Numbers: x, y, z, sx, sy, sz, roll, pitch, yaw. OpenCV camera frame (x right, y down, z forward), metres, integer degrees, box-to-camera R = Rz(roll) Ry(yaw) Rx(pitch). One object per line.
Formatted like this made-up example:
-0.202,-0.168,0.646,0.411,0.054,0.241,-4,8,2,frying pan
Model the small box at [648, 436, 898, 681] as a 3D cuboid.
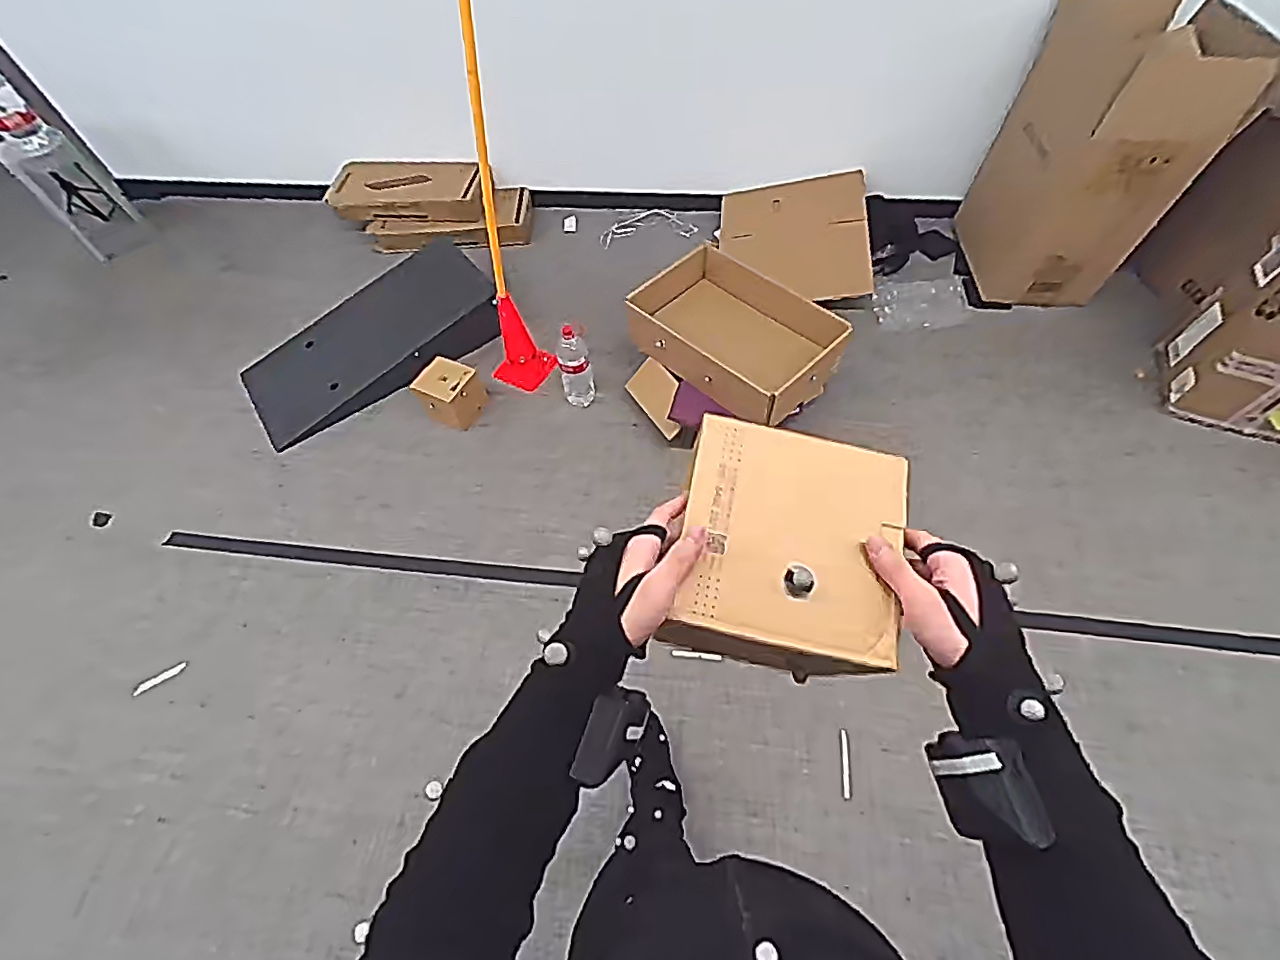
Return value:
0.107,0.075,0.490,0.176,0.179,0.168,15,67,1,small box
